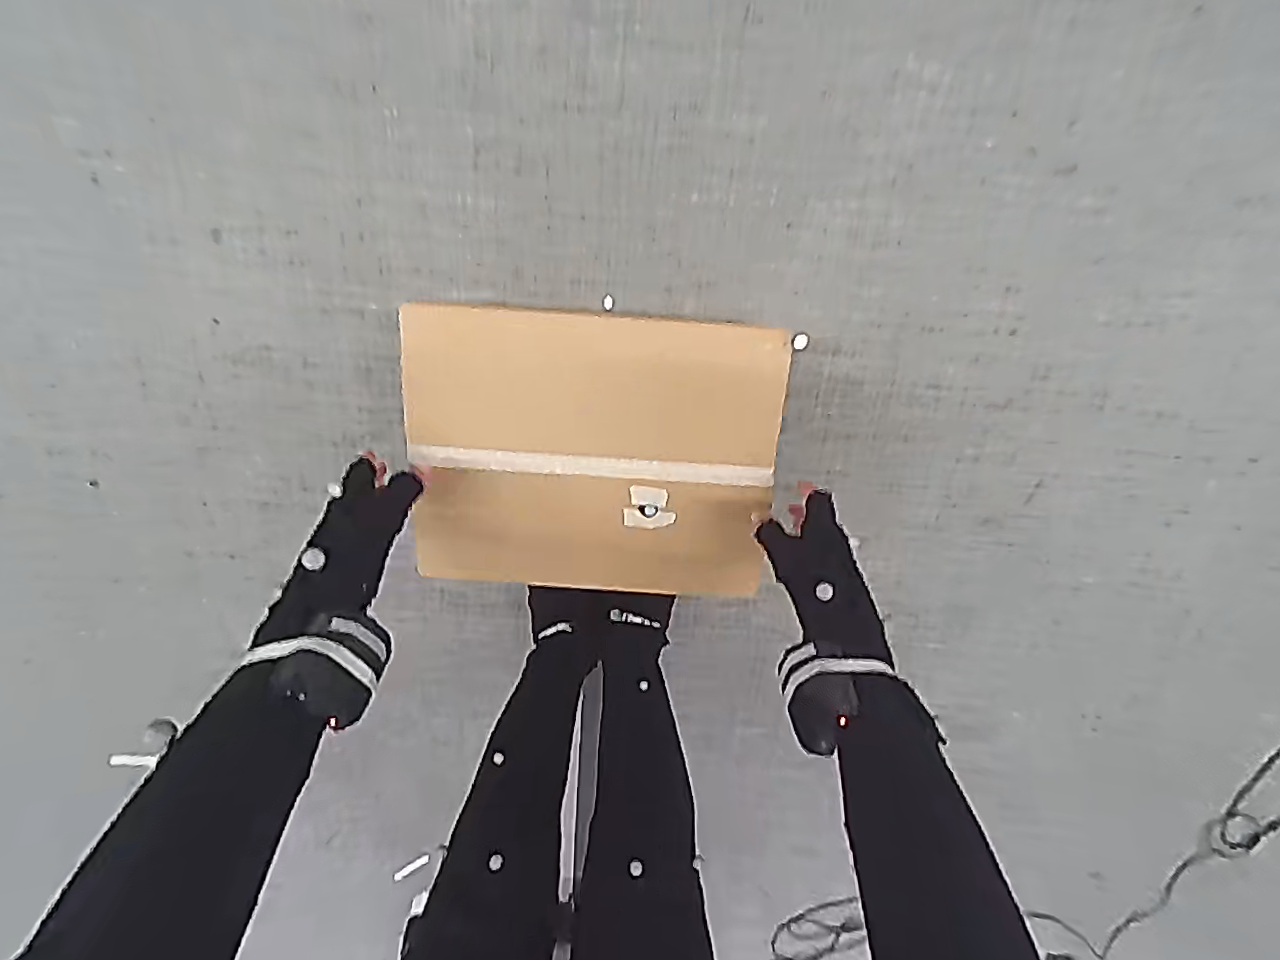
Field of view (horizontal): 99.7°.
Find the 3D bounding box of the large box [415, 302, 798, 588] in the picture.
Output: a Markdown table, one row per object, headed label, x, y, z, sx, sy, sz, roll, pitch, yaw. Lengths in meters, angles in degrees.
| label | x | y | z | sx | sy | sz | roll | pitch | yaw |
| --- | --- | --- | --- | --- | --- | --- | --- | --- | --- |
| large box | -0.043 | -0.069 | 0.742 | 0.408 | 0.320 | 0.320 | 4 | 109 | -1 |
